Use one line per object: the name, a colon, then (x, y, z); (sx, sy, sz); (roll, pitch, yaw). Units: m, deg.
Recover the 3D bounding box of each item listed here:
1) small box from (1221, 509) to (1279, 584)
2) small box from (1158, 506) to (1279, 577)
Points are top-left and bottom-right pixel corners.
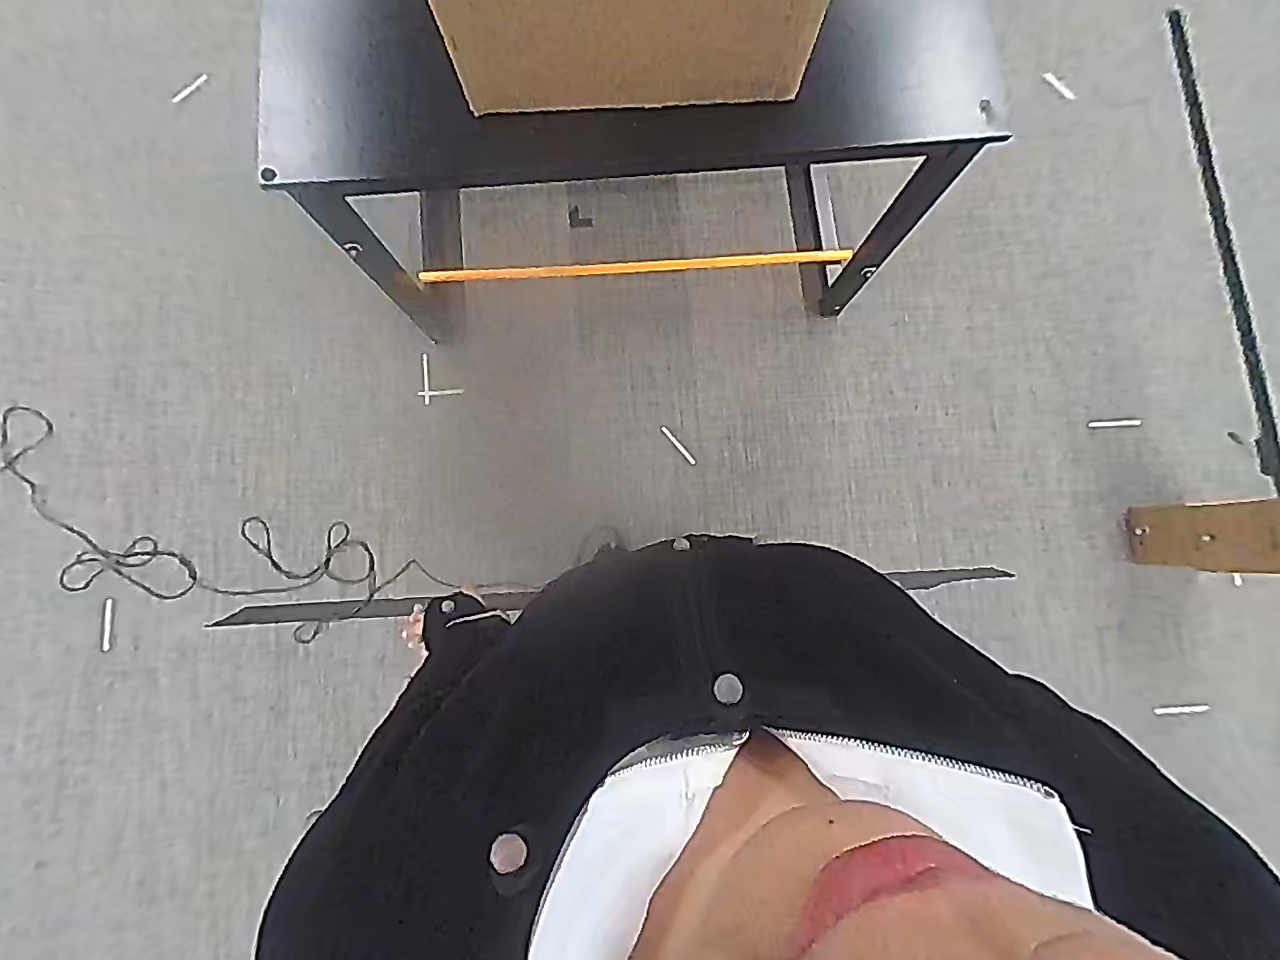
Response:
small box: (1.488, 0.145, 1.214); (0.179, 0.176, 0.168); (-4, 82, -1)
small box: (1.494, 0.156, 1.379); (0.179, 0.176, 0.168); (-4, 83, 0)
